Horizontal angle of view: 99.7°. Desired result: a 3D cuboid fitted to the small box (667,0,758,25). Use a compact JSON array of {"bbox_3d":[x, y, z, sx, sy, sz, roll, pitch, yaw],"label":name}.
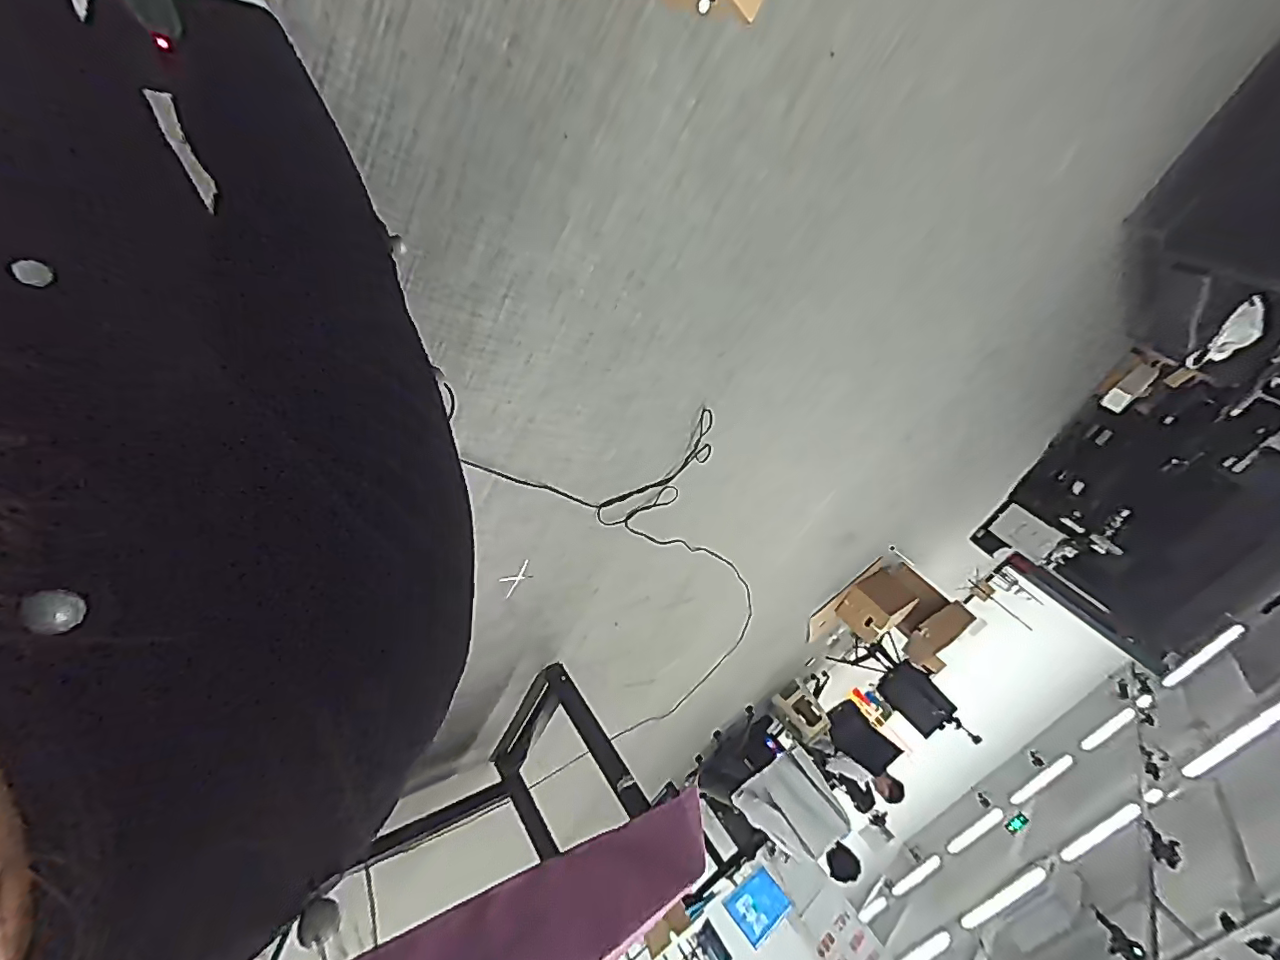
[{"bbox_3d":[0.061,-0.664,0.601,0.179,0.176,0.168,1,126,-48],"label":"small box"}]
